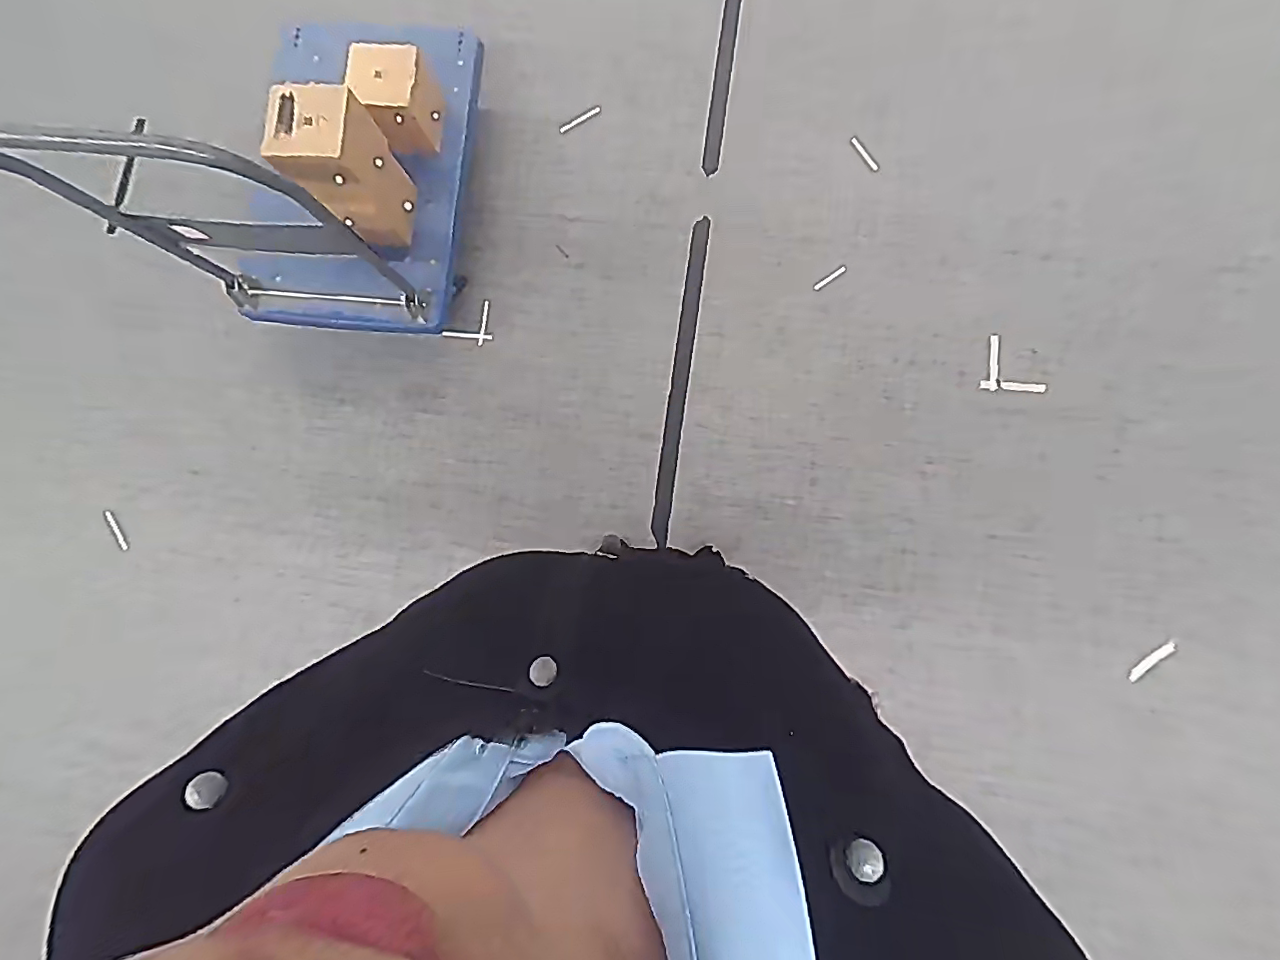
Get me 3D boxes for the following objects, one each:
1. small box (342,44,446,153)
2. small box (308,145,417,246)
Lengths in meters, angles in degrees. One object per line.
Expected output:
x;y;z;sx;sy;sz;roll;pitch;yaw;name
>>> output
-0.632;-0.982;1.403;0.179;0.176;0.168;5;84;4;small box
-0.699;-0.719;1.378;0.179;0.176;0.168;4;85;3;small box
